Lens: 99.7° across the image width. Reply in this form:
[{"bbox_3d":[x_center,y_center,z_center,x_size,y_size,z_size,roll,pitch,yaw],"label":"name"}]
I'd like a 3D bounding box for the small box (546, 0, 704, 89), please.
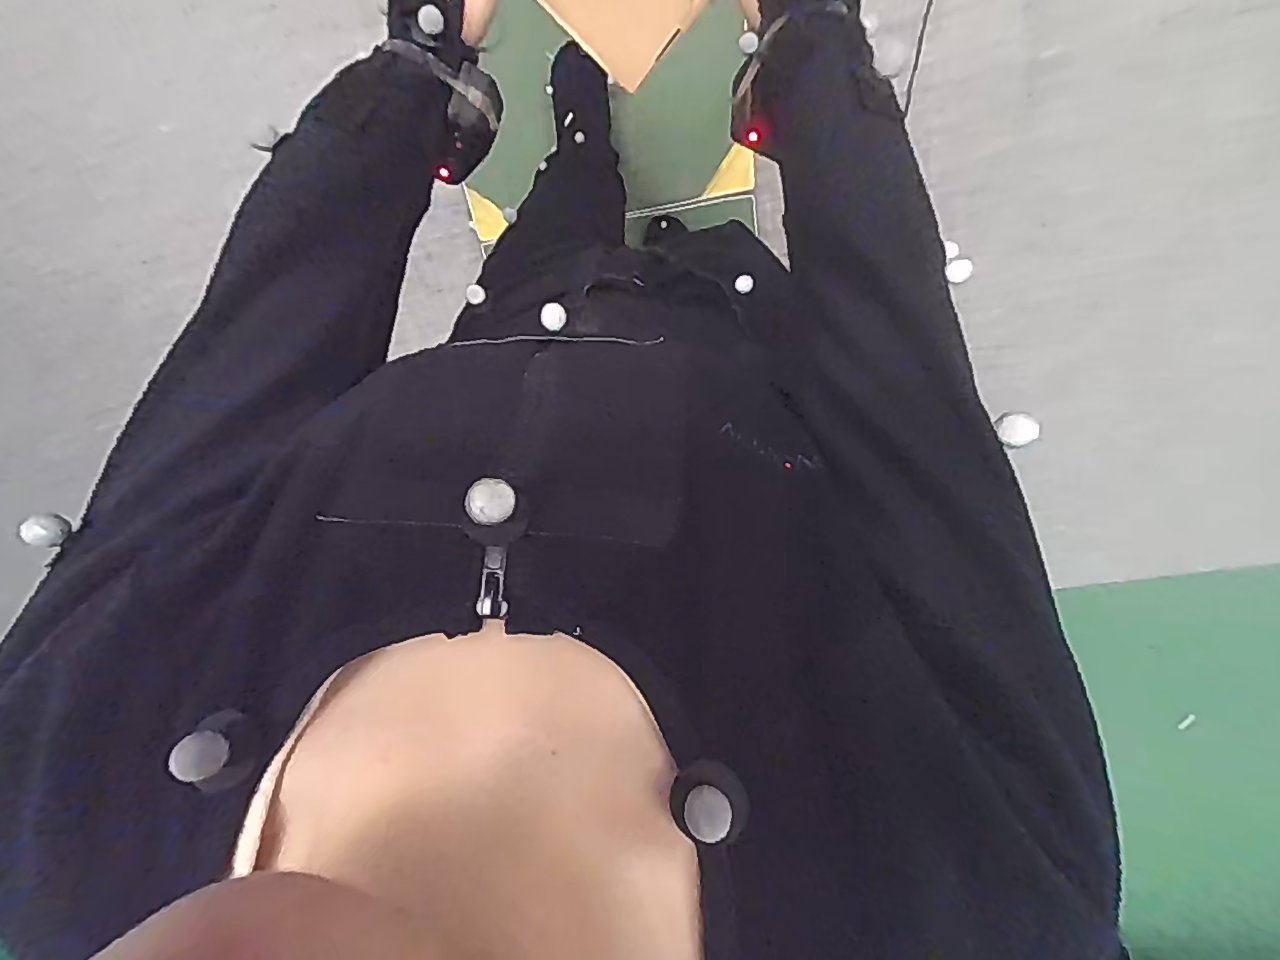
[{"bbox_3d":[-0.011,-0.467,0.422,0.179,0.176,0.168,31,133,-28],"label":"small box"}]
